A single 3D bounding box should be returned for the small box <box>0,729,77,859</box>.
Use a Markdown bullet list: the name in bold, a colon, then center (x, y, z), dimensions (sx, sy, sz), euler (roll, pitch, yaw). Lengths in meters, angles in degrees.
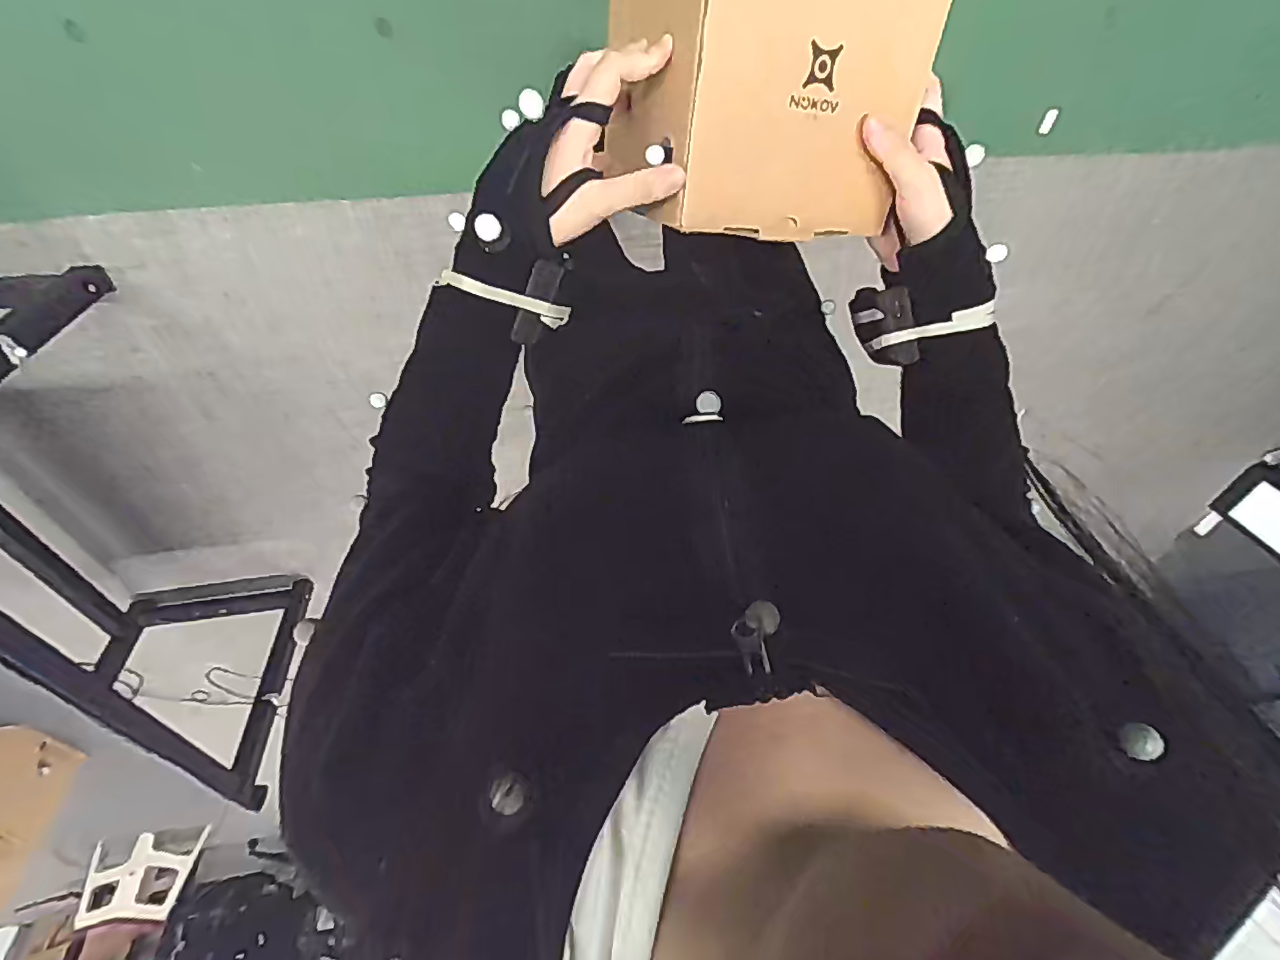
- **small box**: center (-1.208, 0.575, 0.977), dimensions (0.179, 0.176, 0.168), euler (-7, 135, -7)
